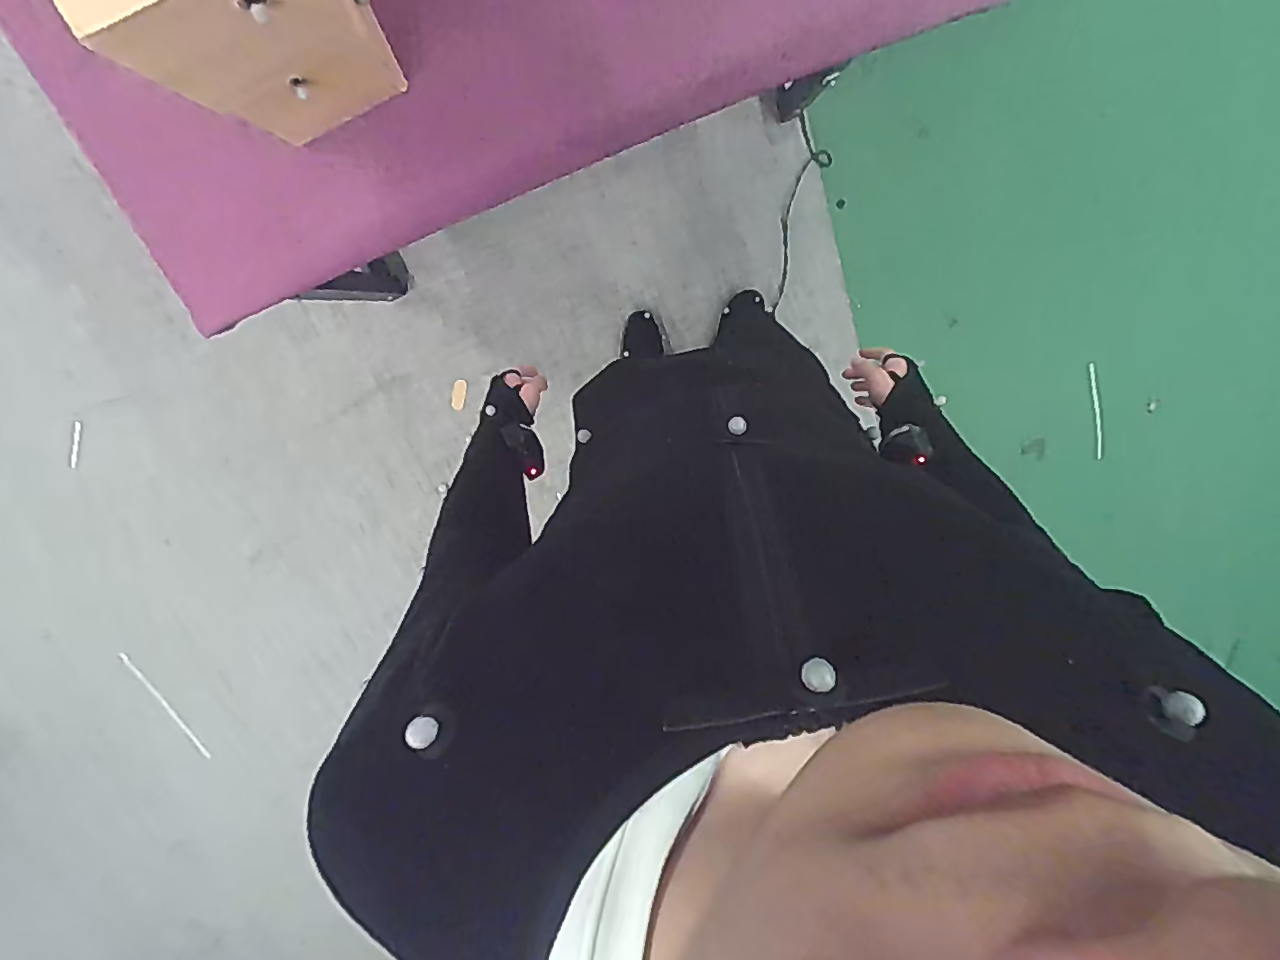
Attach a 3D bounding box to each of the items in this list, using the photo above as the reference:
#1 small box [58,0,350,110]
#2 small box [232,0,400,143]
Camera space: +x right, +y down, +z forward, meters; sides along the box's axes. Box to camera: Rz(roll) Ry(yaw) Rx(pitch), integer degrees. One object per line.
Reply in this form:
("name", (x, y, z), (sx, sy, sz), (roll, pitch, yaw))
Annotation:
("small box", (-0.389, -0.466, 0.470), (0.179, 0.176, 0.168), (-22, 107, 4))
("small box", (-0.406, -0.528, 0.623), (0.179, 0.176, 0.168), (-24, 108, 5))
